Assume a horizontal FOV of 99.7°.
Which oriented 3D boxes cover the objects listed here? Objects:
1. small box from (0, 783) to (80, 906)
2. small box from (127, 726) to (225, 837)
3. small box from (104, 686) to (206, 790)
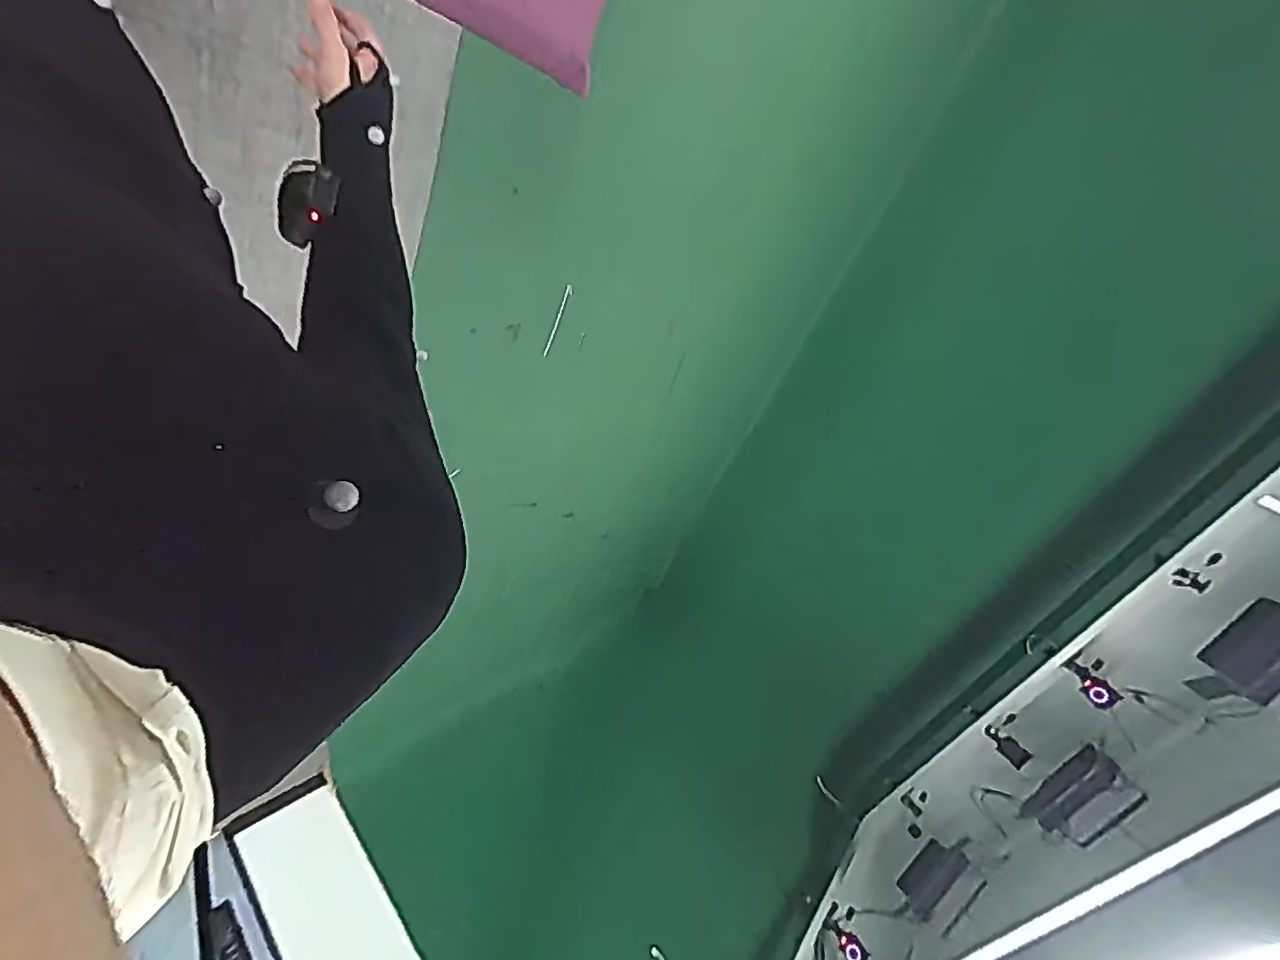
[{"bbox_3d":[-1.433,0.839,1.246,0.168,0.176,0.179,-5,132,-55],"label":"small box"},{"bbox_3d":[-1.271,0.815,1.478,0.168,0.176,0.179,-10,135,-53],"label":"small box"},{"bbox_3d":[-1.388,0.728,1.548,0.179,0.176,0.168,-10,135,-54],"label":"small box"}]
